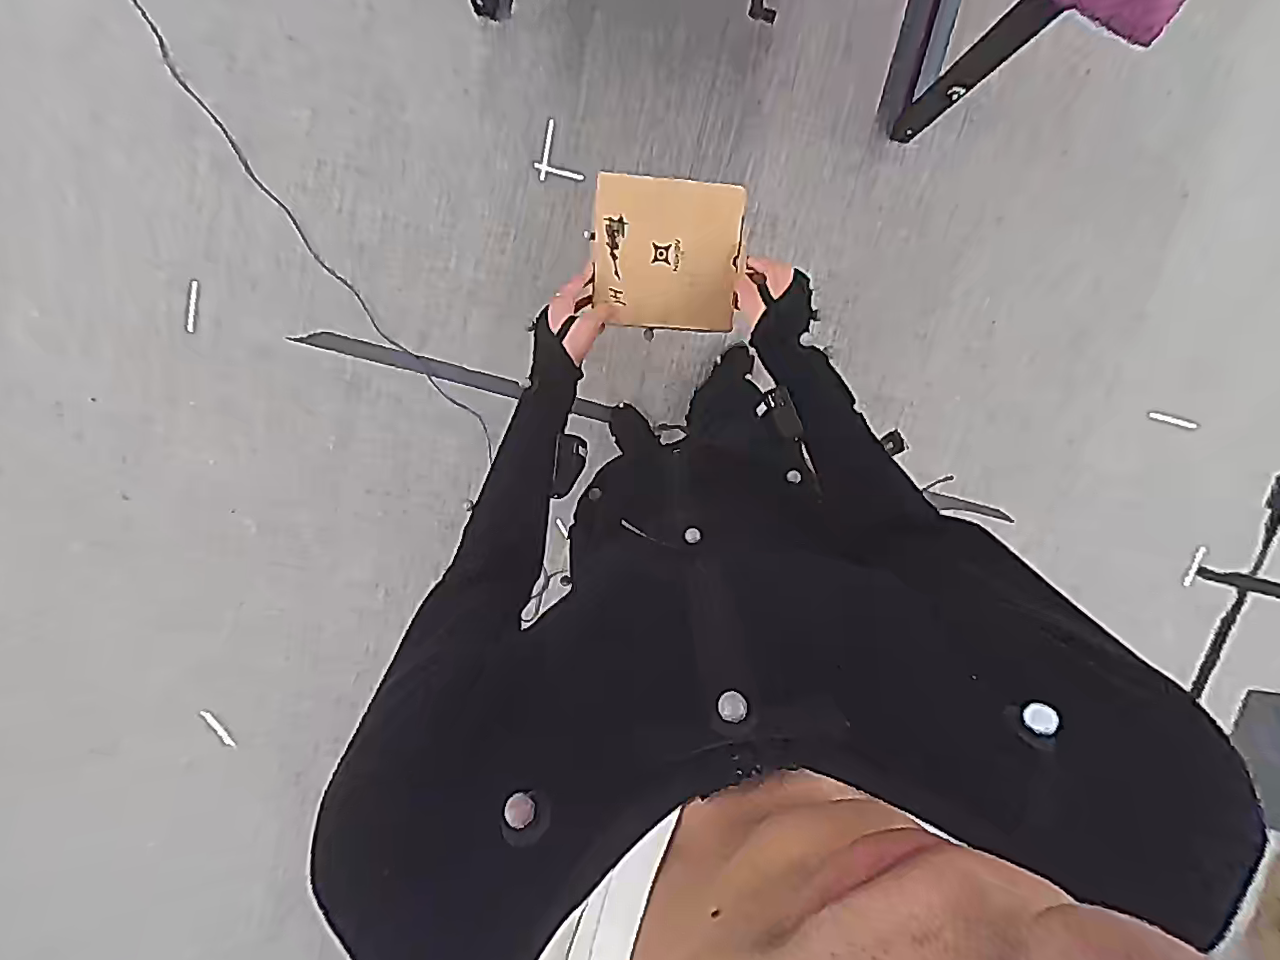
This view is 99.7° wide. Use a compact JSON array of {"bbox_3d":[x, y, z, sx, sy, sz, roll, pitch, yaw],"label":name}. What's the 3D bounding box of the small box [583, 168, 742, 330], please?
[{"bbox_3d":[0.017,-0.290,0.714,0.179,0.176,0.168,2,105,-8],"label":"small box"}]
